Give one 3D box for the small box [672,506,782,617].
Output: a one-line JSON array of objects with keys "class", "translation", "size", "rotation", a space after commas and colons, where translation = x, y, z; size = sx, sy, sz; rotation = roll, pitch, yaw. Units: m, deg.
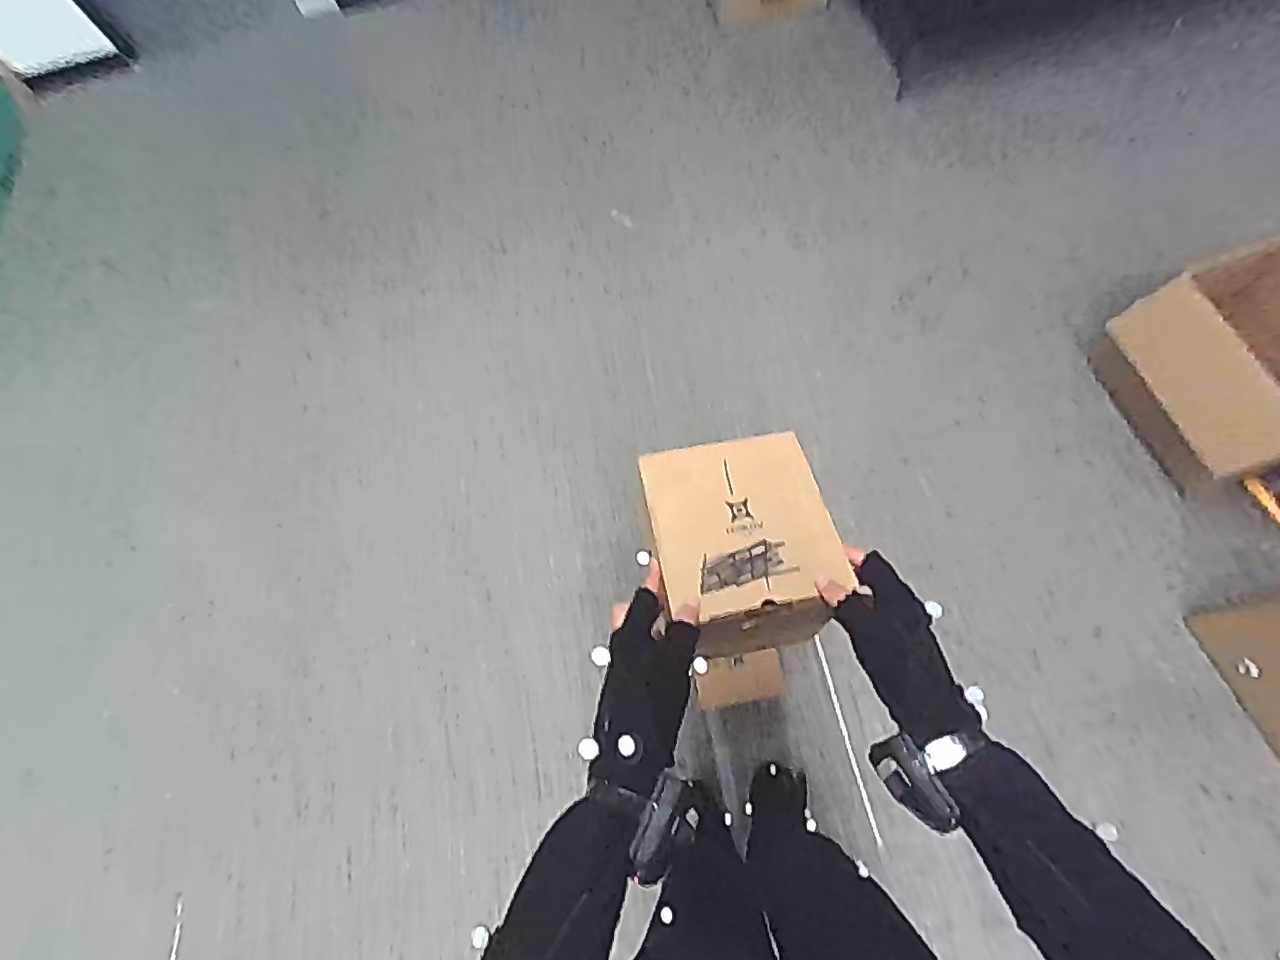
[{"class": "small box", "translation": [0.167, 0.169, 1.091], "size": [0.179, 0.176, 0.168], "rotation": [-13, 68, 1]}]
